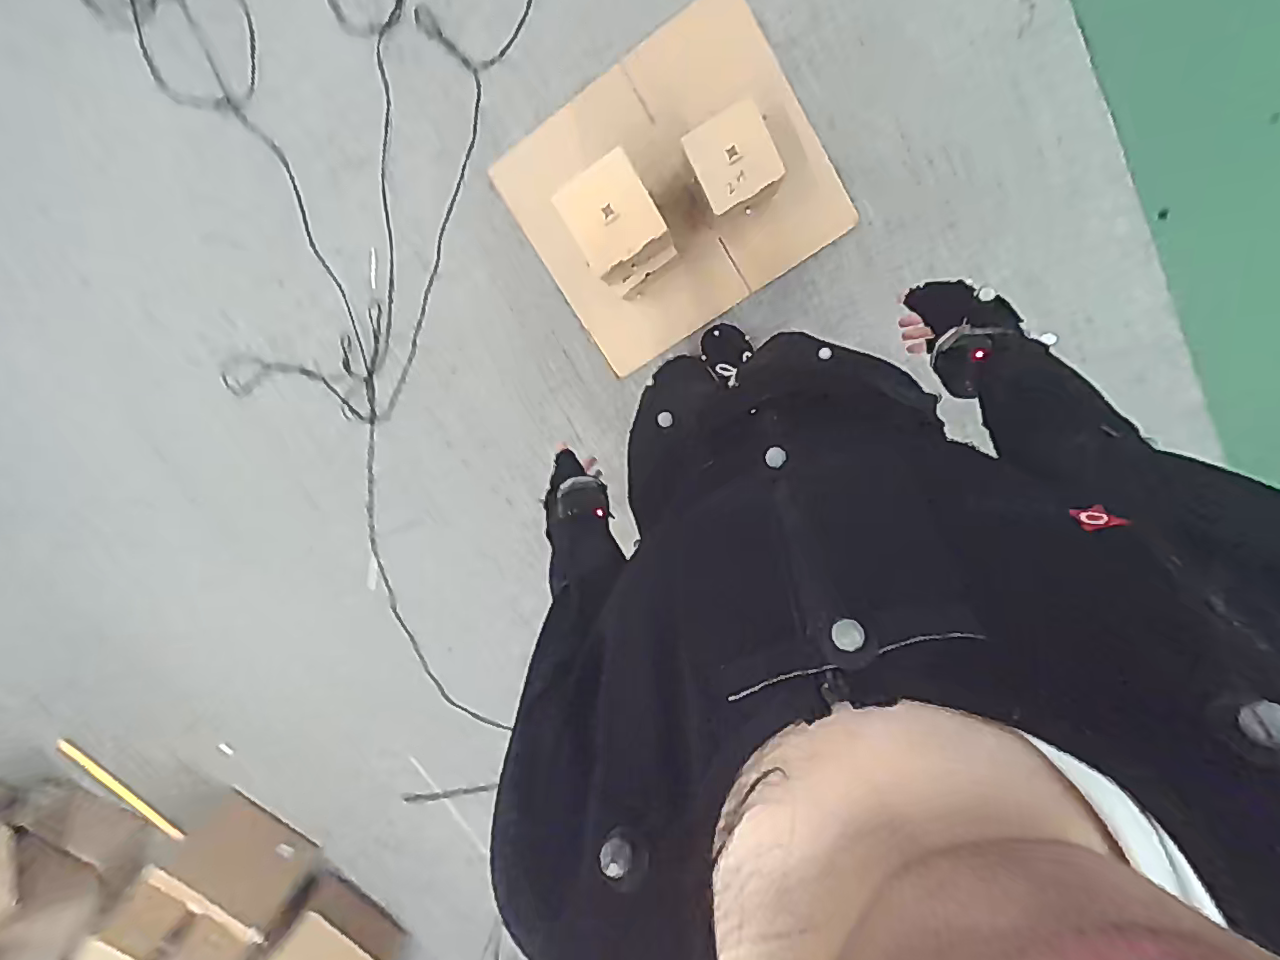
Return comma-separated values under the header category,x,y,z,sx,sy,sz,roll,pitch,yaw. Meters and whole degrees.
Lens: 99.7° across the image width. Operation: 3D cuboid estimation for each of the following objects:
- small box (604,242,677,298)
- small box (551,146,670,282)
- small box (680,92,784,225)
category,x,y,z,sx,sy,sz,roll,pitch,yaw
small box,-0.024,-0.548,1.271,0.168,0.176,0.179,-33,99,14
small box,-0.052,-0.530,1.109,0.168,0.176,0.179,-31,100,13
small box,0.199,-0.702,1.206,0.168,0.176,0.179,-27,102,13
